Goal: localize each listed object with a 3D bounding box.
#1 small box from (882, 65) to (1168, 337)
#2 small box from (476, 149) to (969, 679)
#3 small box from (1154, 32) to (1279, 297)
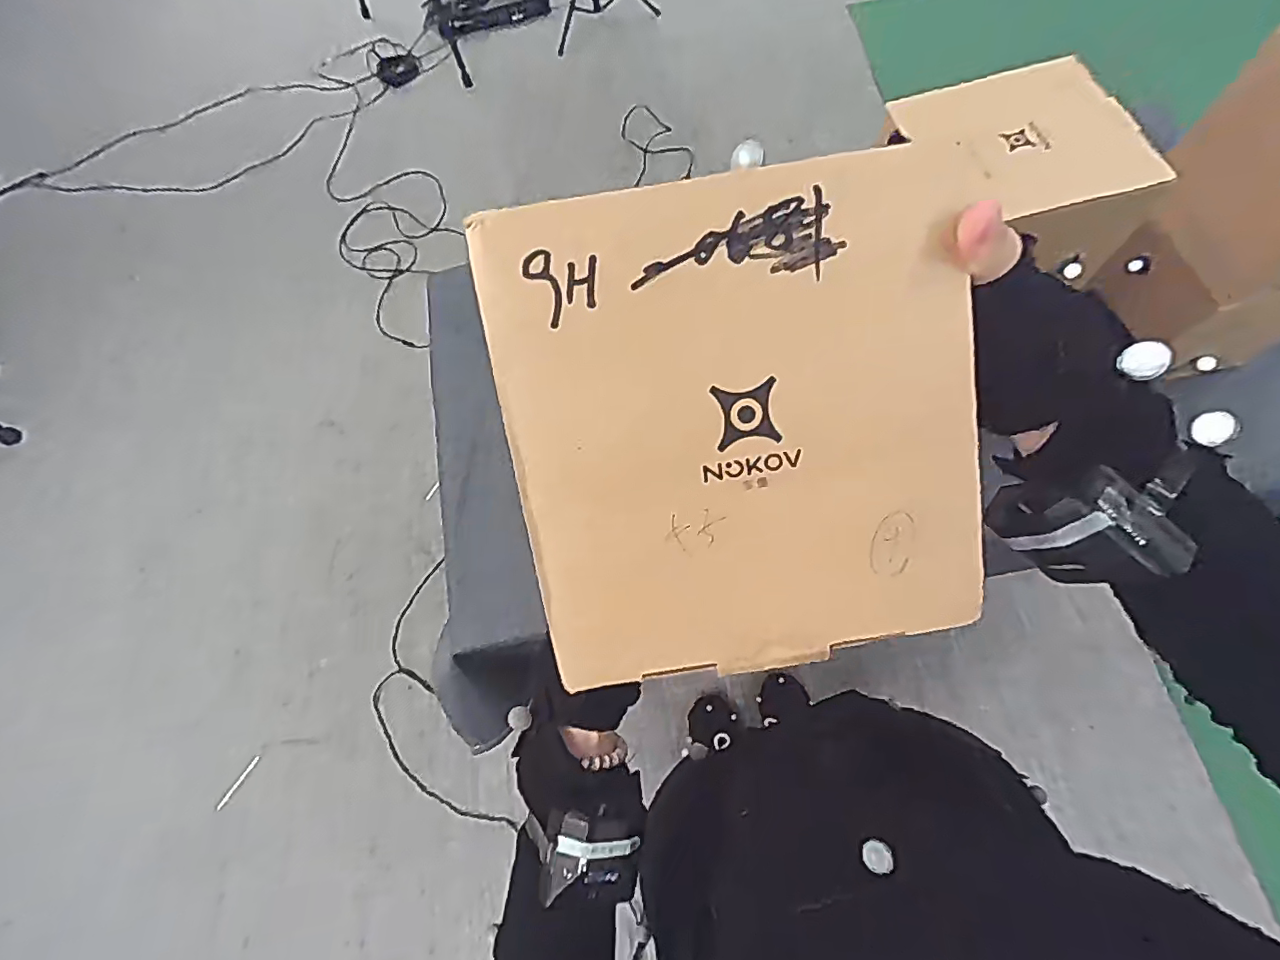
[{"bbox_3d":[0.335,-0.257,0.539,0.179,0.176,0.168,-13,67,3],"label":"small box"},{"bbox_3d":[0.035,-0.032,0.275,0.168,0.176,0.179,-9,102,-1],"label":"small box"},{"bbox_3d":[0.652,-0.294,0.509,0.168,0.176,0.179,-9,68,4],"label":"small box"}]
